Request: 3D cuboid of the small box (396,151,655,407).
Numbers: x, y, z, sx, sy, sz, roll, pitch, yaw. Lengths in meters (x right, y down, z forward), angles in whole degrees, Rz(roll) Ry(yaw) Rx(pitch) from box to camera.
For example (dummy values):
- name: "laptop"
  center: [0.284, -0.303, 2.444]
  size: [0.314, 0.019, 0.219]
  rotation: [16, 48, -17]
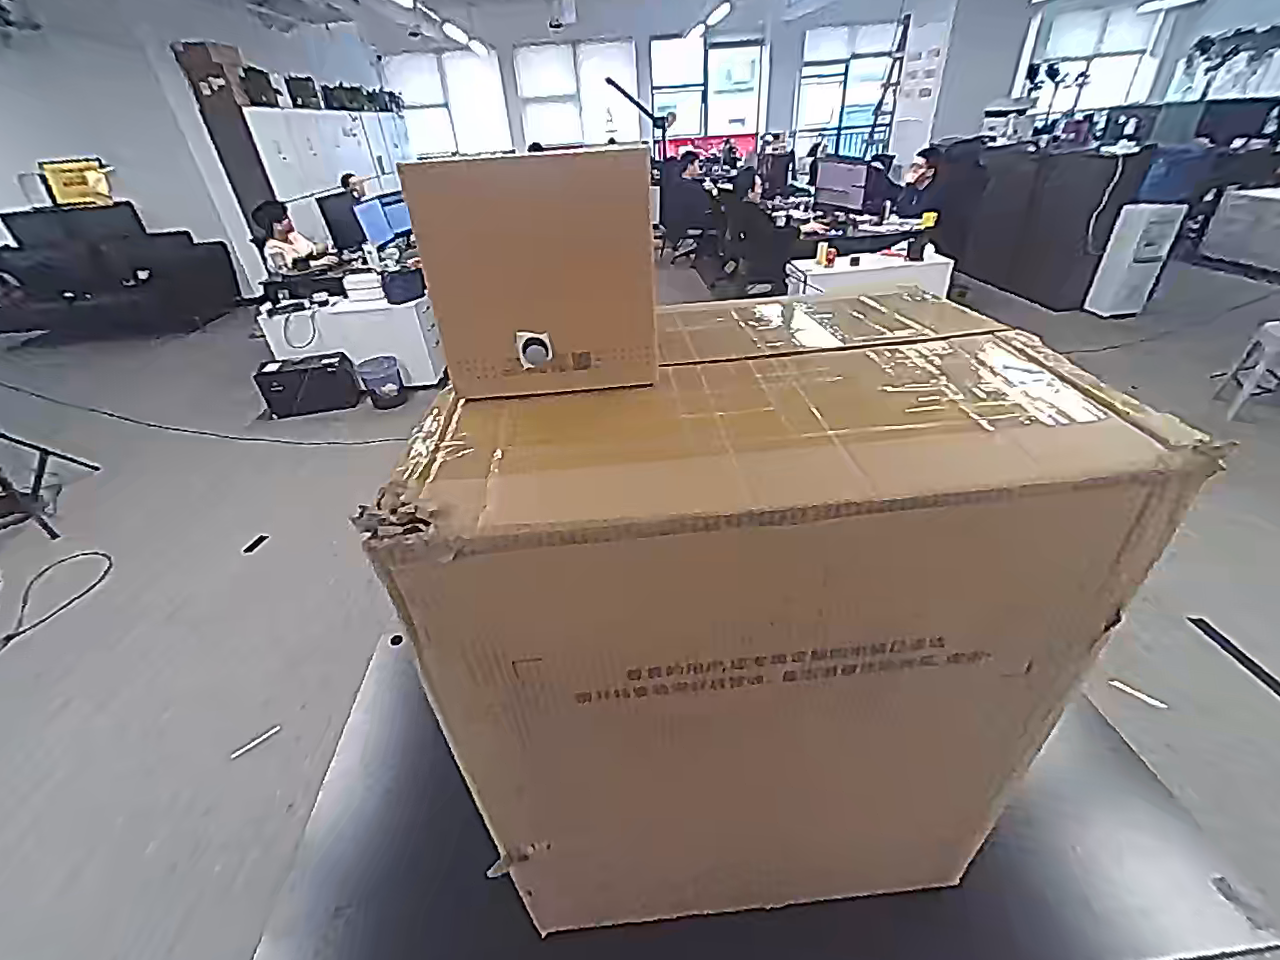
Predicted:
- name: "small box"
  center: [-0.082, -0.177, 0.465]
  size: [0.168, 0.176, 0.179]
  rotation: [-8, 33, -4]
